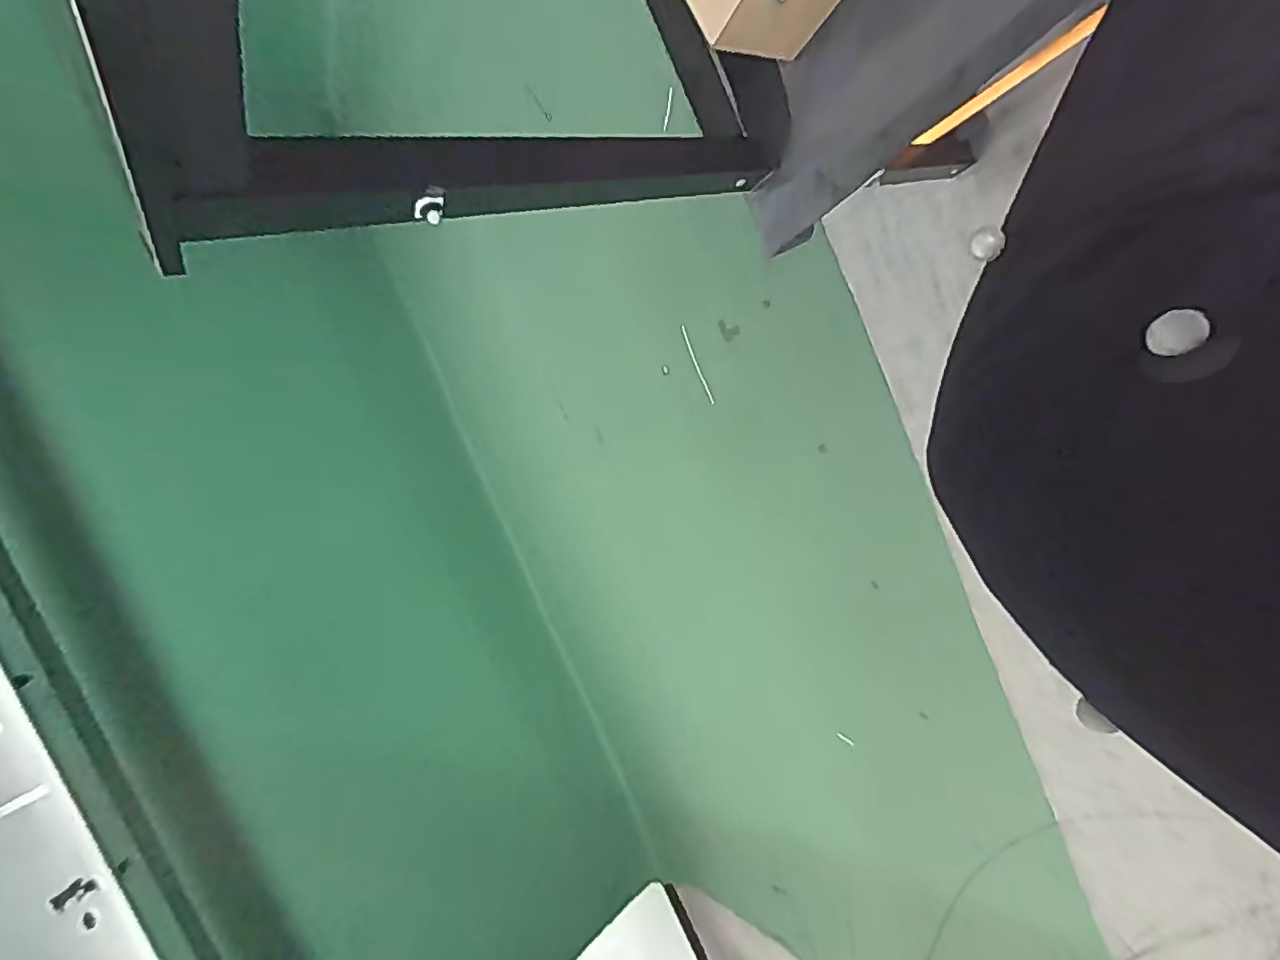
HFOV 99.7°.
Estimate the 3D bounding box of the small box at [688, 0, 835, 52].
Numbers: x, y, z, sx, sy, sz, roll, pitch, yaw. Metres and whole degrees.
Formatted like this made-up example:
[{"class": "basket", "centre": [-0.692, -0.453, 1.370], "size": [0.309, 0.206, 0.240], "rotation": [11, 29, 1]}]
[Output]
[{"class": "small box", "centre": [0.150, -0.626, 0.605], "size": [0.179, 0.176, 0.168], "rotation": [-29, 88, 54]}]
